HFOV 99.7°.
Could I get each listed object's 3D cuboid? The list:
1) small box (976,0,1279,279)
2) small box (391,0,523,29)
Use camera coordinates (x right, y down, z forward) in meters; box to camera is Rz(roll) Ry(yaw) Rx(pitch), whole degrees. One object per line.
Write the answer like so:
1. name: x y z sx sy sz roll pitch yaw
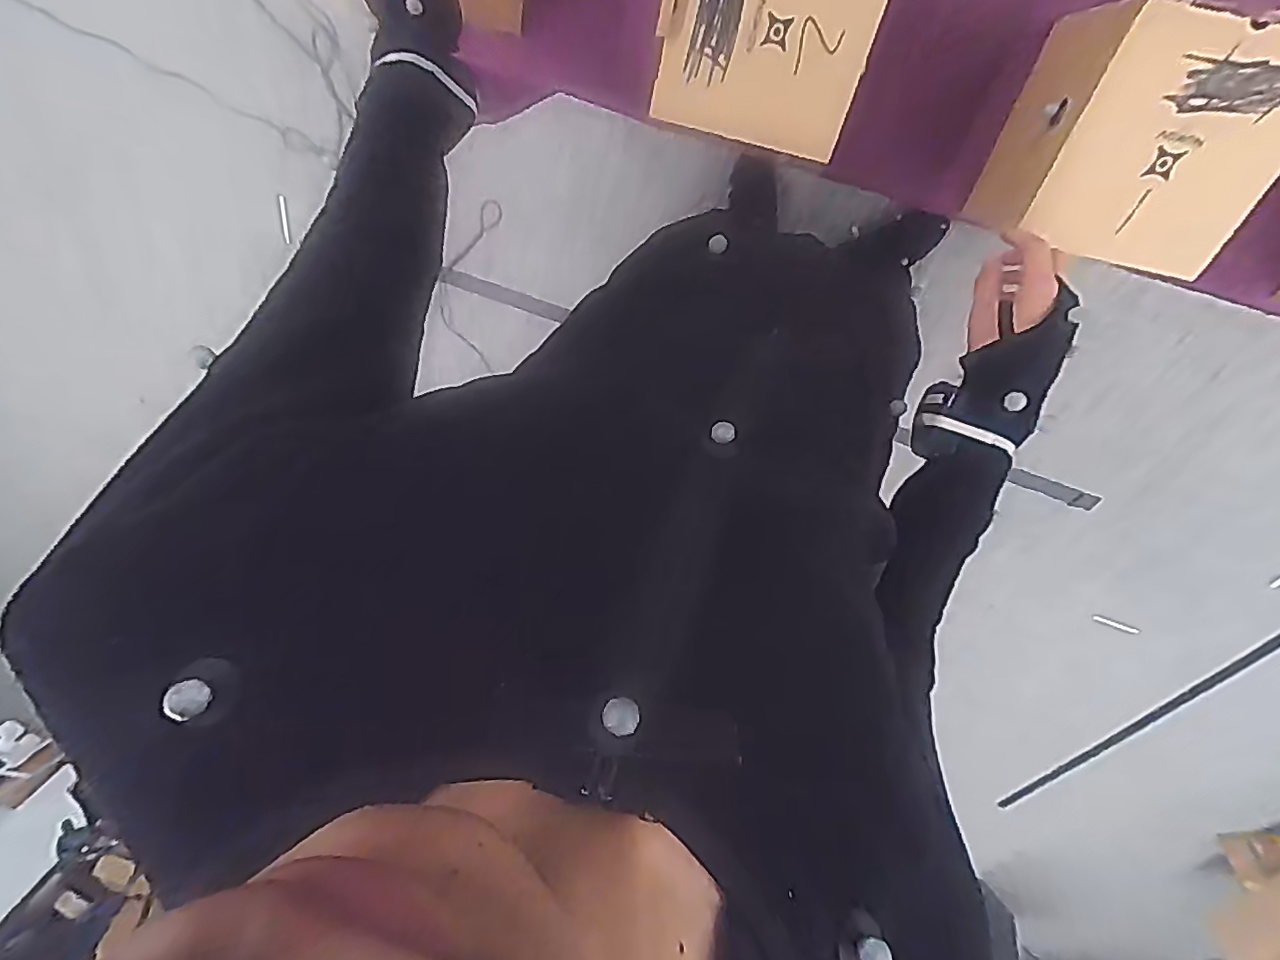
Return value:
1. small box: 0.453 -0.315 0.505 0.168 0.176 0.179 15 128 5
2. small box: -0.219 -0.555 0.511 0.179 0.176 0.168 18 128 2
